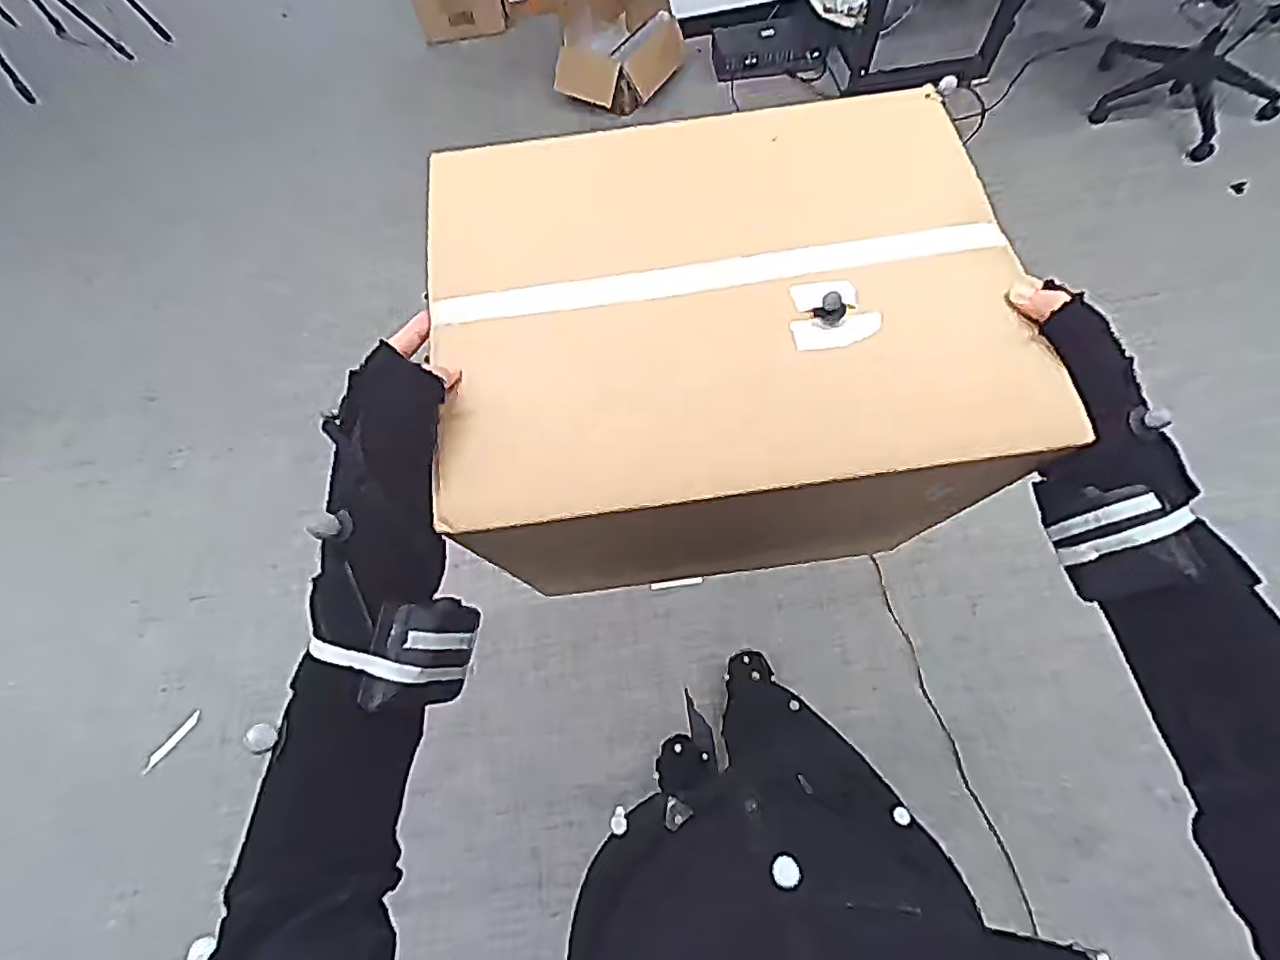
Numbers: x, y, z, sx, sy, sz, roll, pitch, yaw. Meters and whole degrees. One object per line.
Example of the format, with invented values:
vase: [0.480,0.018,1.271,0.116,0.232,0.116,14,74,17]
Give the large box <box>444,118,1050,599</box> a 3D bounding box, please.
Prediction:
large box: [0.058,-0.084,0.541,0.408,0.320,0.320,-8,70,-1]
